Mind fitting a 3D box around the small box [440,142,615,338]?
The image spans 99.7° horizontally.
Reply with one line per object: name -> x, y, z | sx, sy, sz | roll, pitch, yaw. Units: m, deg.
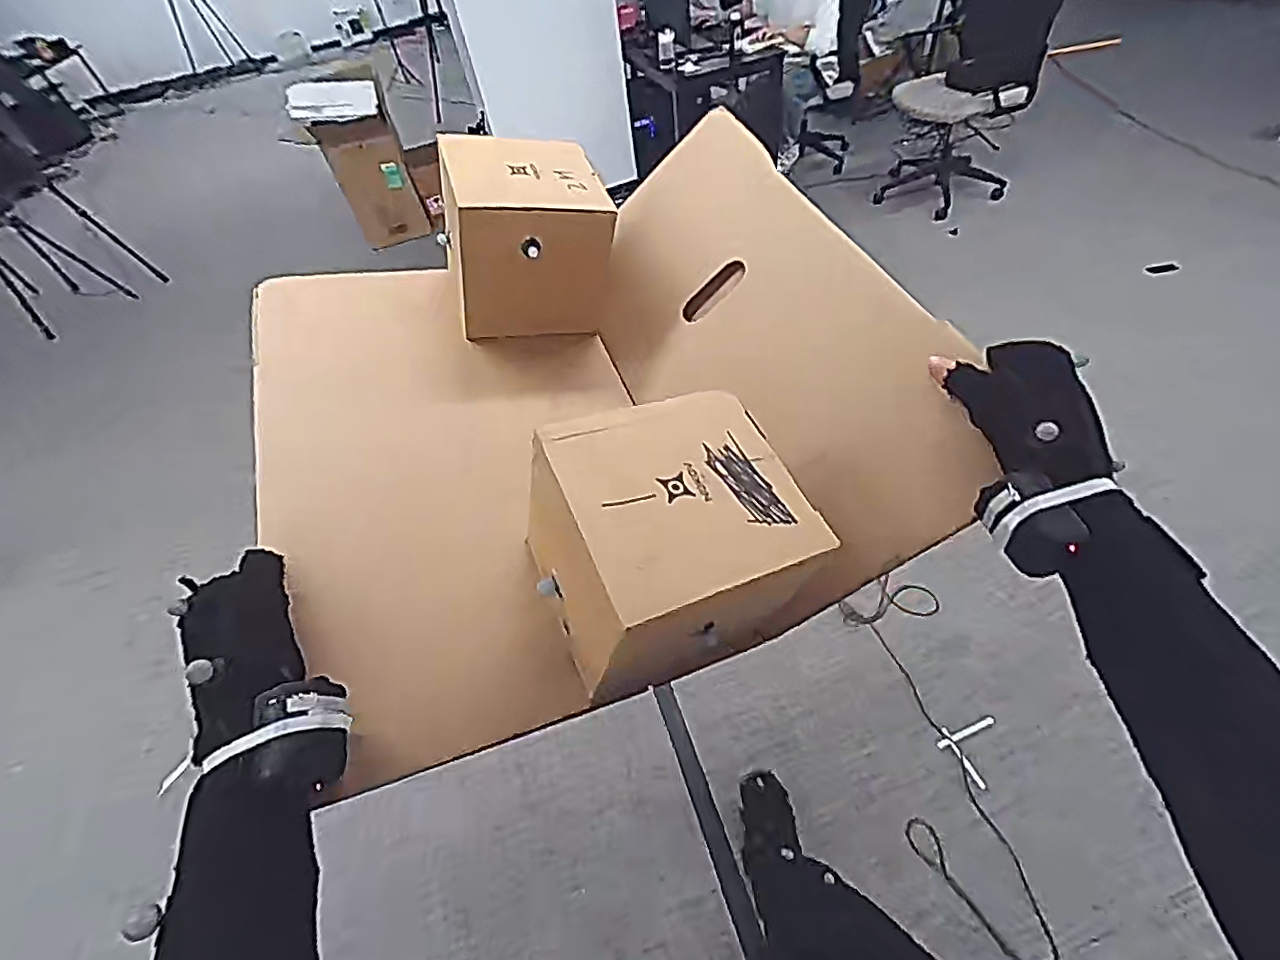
small box -> -0.146, -0.296, 0.684 | 0.179, 0.176, 0.168 | -8, 56, -20
